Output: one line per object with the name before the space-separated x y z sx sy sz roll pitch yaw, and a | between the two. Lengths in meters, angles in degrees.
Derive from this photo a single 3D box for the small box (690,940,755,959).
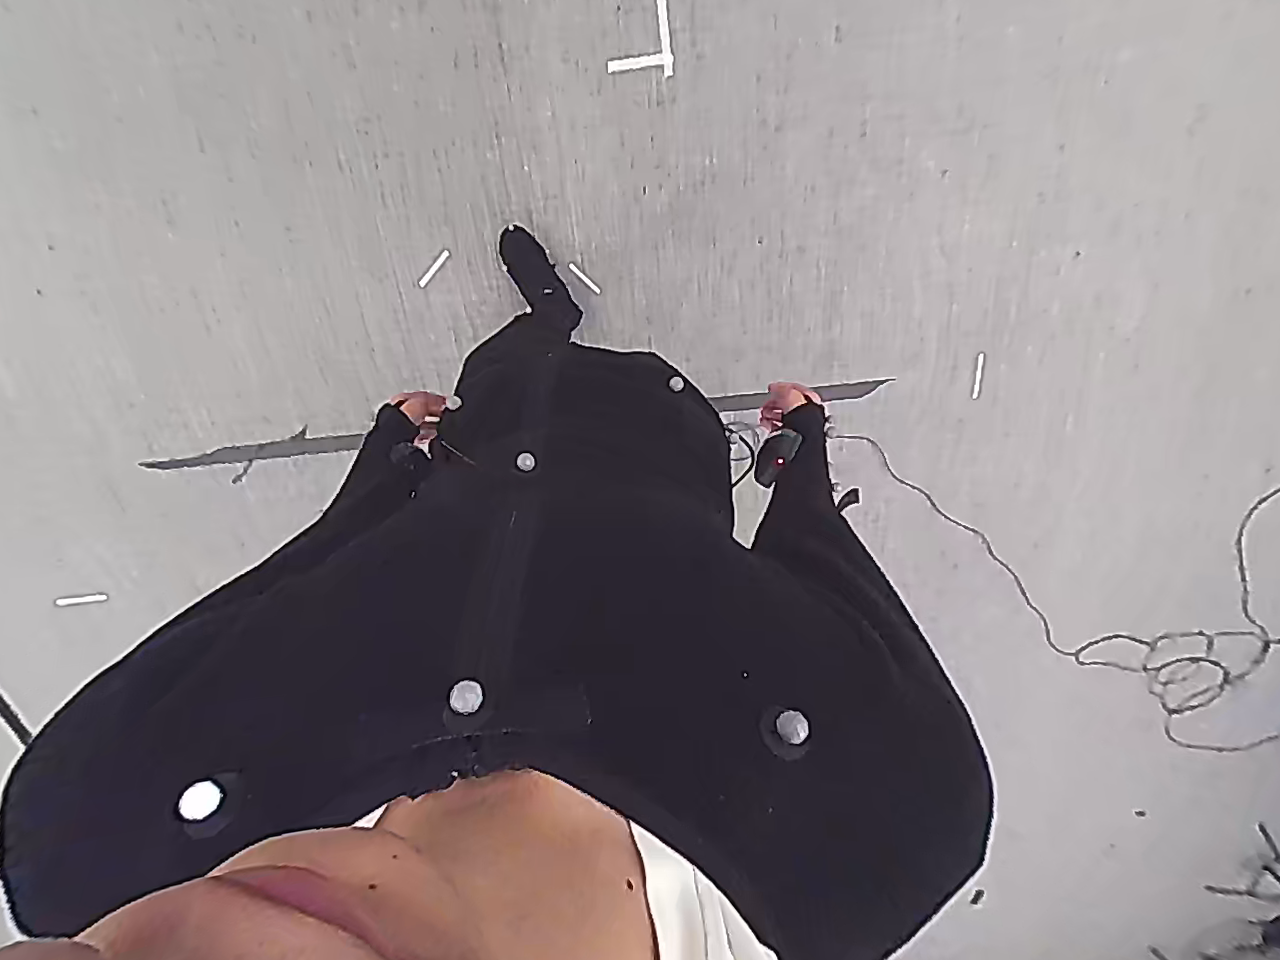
small box | 0.222 1.315 1.366 0.168 0.176 0.179 -6 110 -2
